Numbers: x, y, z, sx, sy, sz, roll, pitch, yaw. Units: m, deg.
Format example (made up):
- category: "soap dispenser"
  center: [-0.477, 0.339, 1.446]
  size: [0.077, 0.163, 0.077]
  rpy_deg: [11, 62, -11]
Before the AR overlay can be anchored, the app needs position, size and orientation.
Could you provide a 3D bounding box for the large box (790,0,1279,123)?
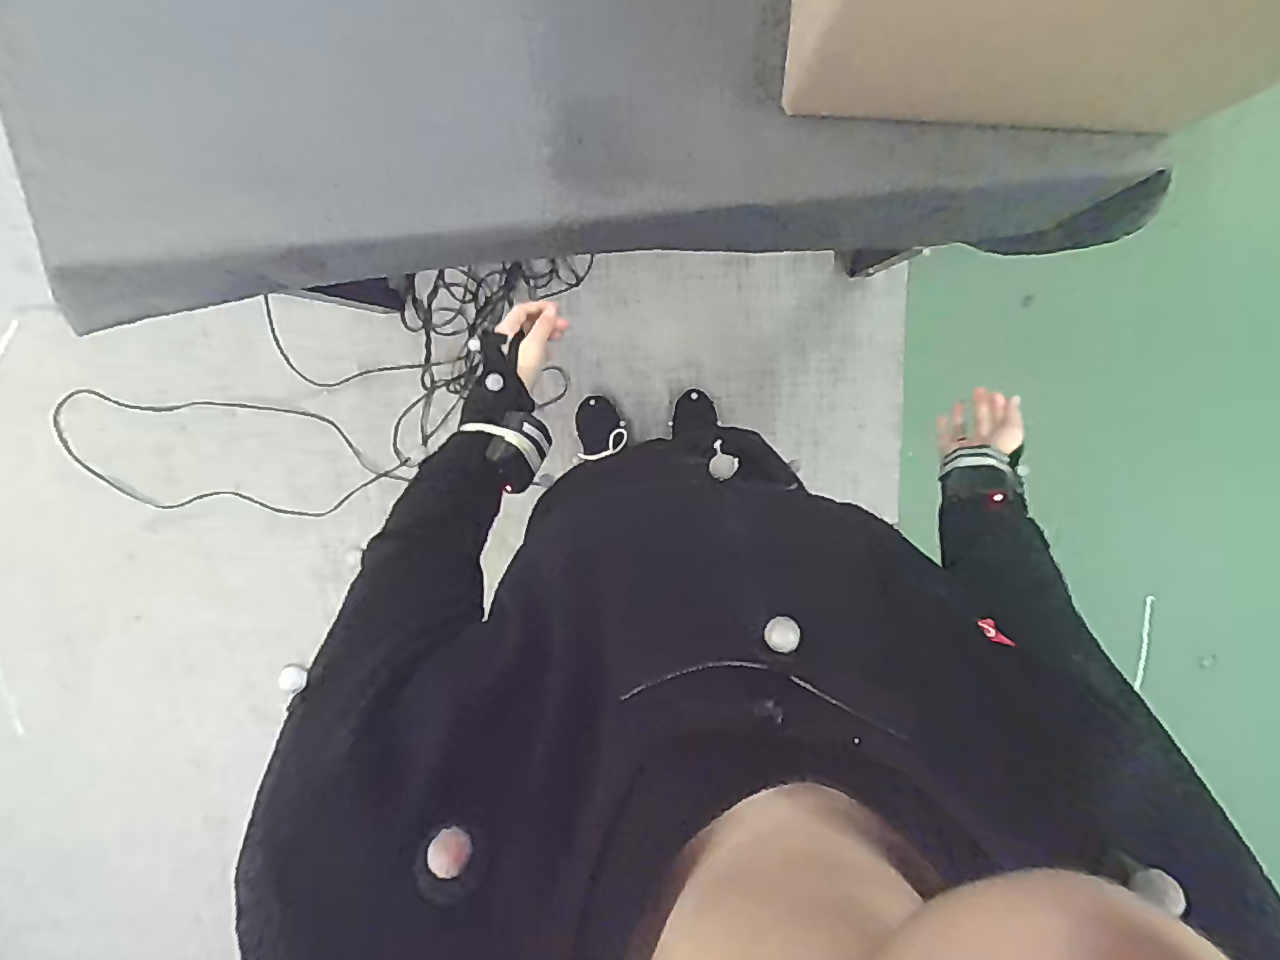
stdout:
- category: "large box"
  center: [0.349, -0.488, 0.376]
  size: [0.408, 0.320, 0.320]
  rpy_deg: [3, 102, 0]
